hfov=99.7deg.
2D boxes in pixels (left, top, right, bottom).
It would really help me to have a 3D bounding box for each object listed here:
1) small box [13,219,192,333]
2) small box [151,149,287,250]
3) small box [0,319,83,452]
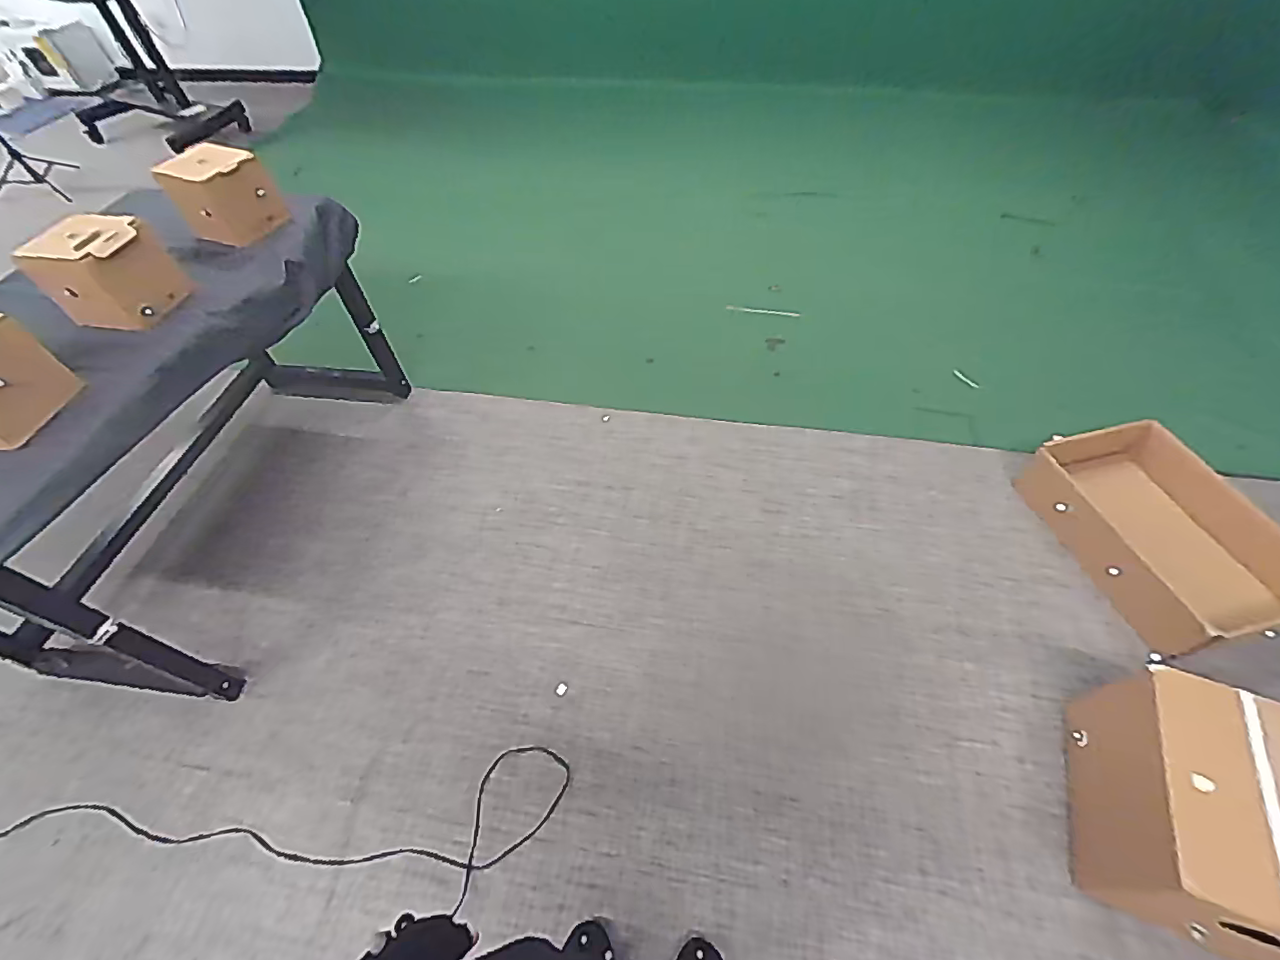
[{"bbox_3d":[-1.143,-0.437,1.170,0.179,0.176,0.168,7,54,9],"label":"small box"},{"bbox_3d":[-1.051,-0.707,1.369,0.179,0.176,0.168,16,55,16],"label":"small box"},{"bbox_3d":[-1.184,-0.167,0.967,0.168,0.176,0.179,3,53,7],"label":"small box"}]
